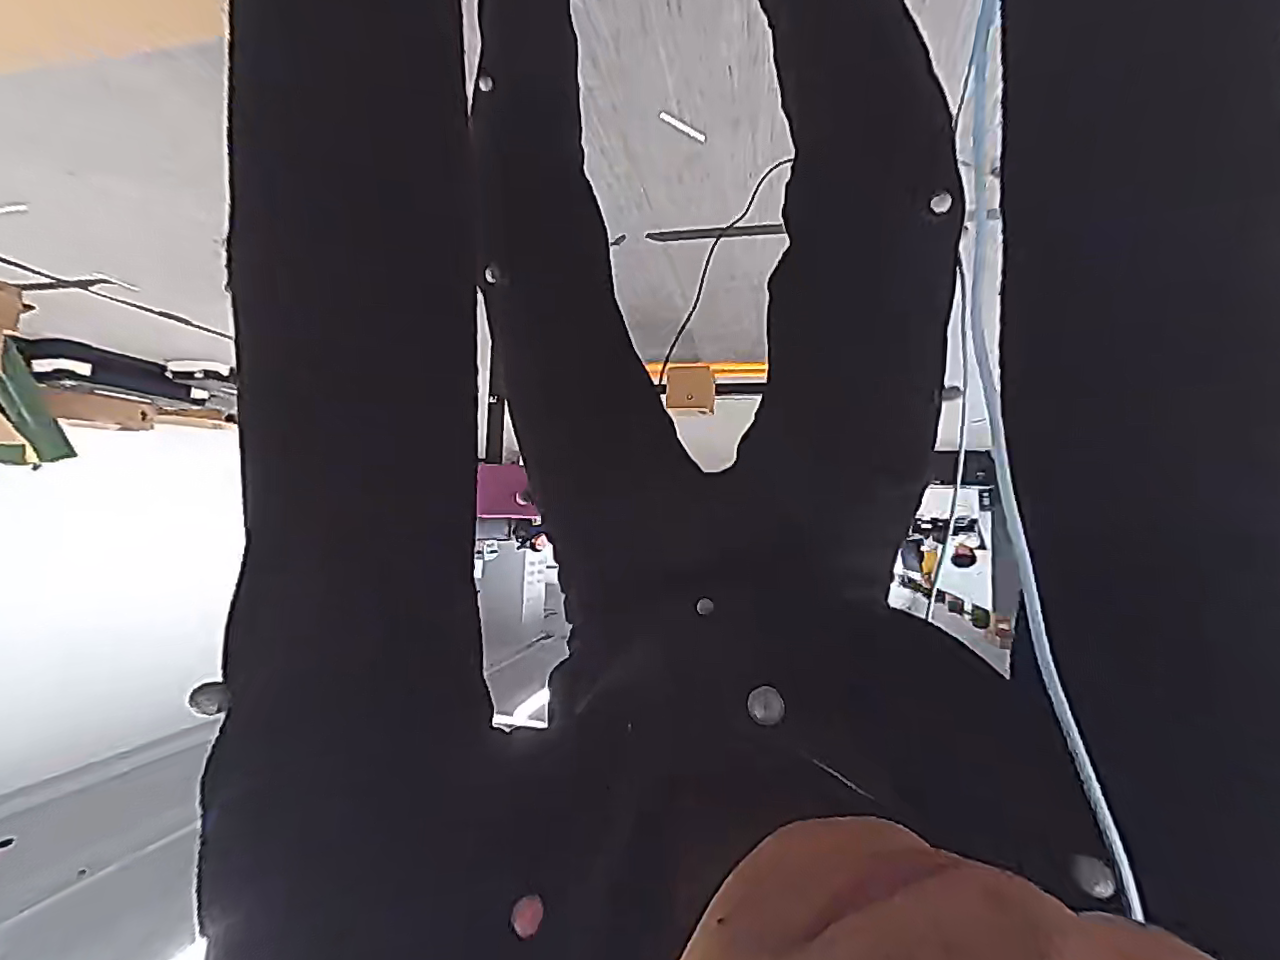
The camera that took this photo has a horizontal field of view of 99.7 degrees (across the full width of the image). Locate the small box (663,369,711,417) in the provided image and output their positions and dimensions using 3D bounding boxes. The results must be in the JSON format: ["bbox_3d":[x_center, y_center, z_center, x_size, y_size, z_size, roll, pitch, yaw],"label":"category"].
[{"bbox_3d":[0.199,-0.358,2.242,0.179,0.176,0.168,3,176,16],"label":"small box"}]
